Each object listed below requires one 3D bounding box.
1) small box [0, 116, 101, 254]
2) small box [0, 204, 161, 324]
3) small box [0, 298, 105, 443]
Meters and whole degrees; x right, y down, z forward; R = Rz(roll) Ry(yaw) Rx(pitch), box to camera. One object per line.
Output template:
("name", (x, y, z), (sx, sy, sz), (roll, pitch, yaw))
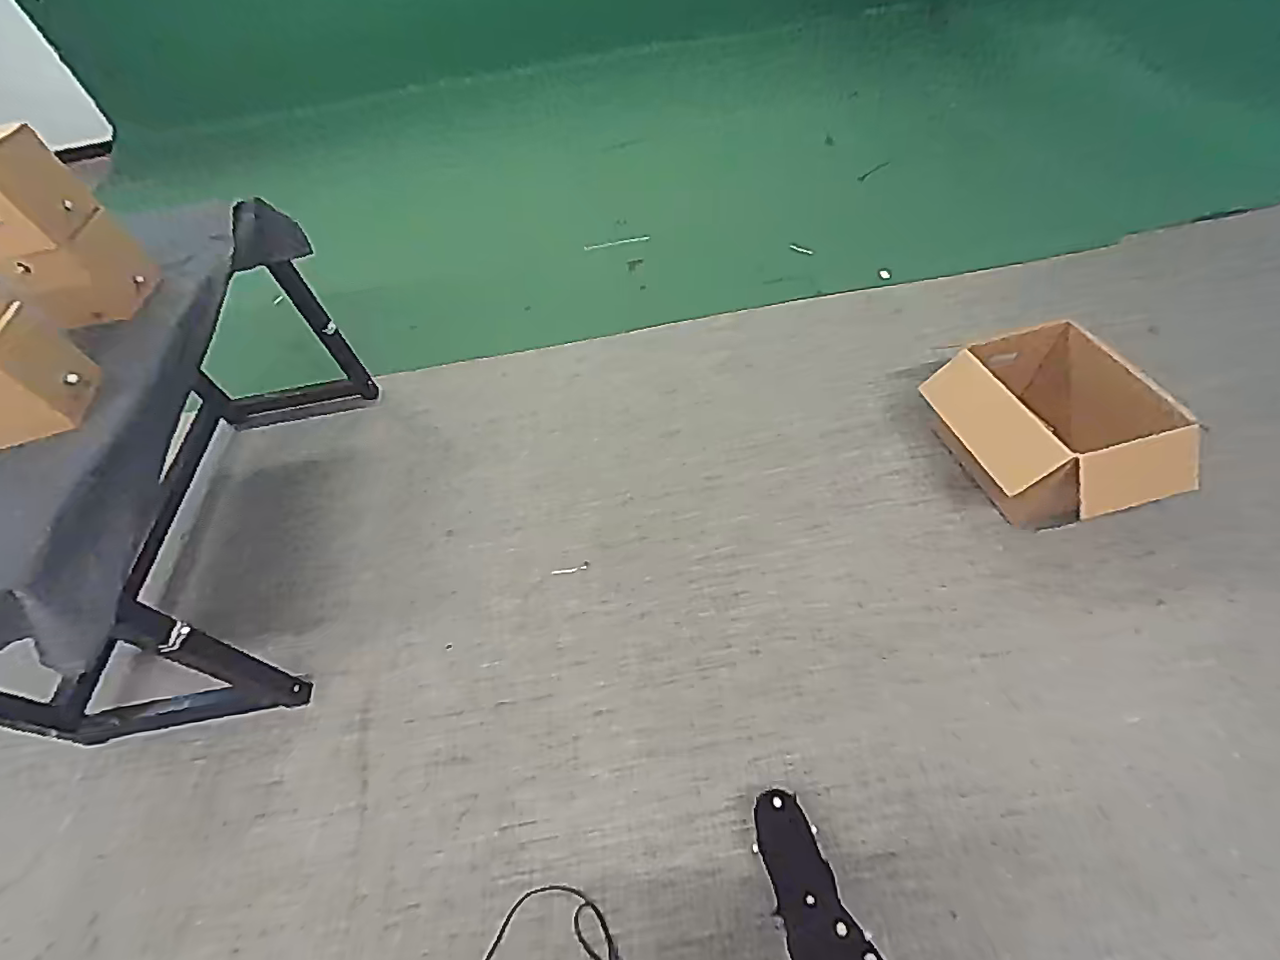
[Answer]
("small box", (-1.229, -0.563, 1.039), (0.168, 0.176, 0.179), (-9, 53, 2))
("small box", (-1.208, -0.467, 1.175), (0.168, 0.176, 0.179), (-10, 53, 1))
("small box", (-1.129, -0.186, 0.957), (0.179, 0.176, 0.168), (-18, 54, -6))
